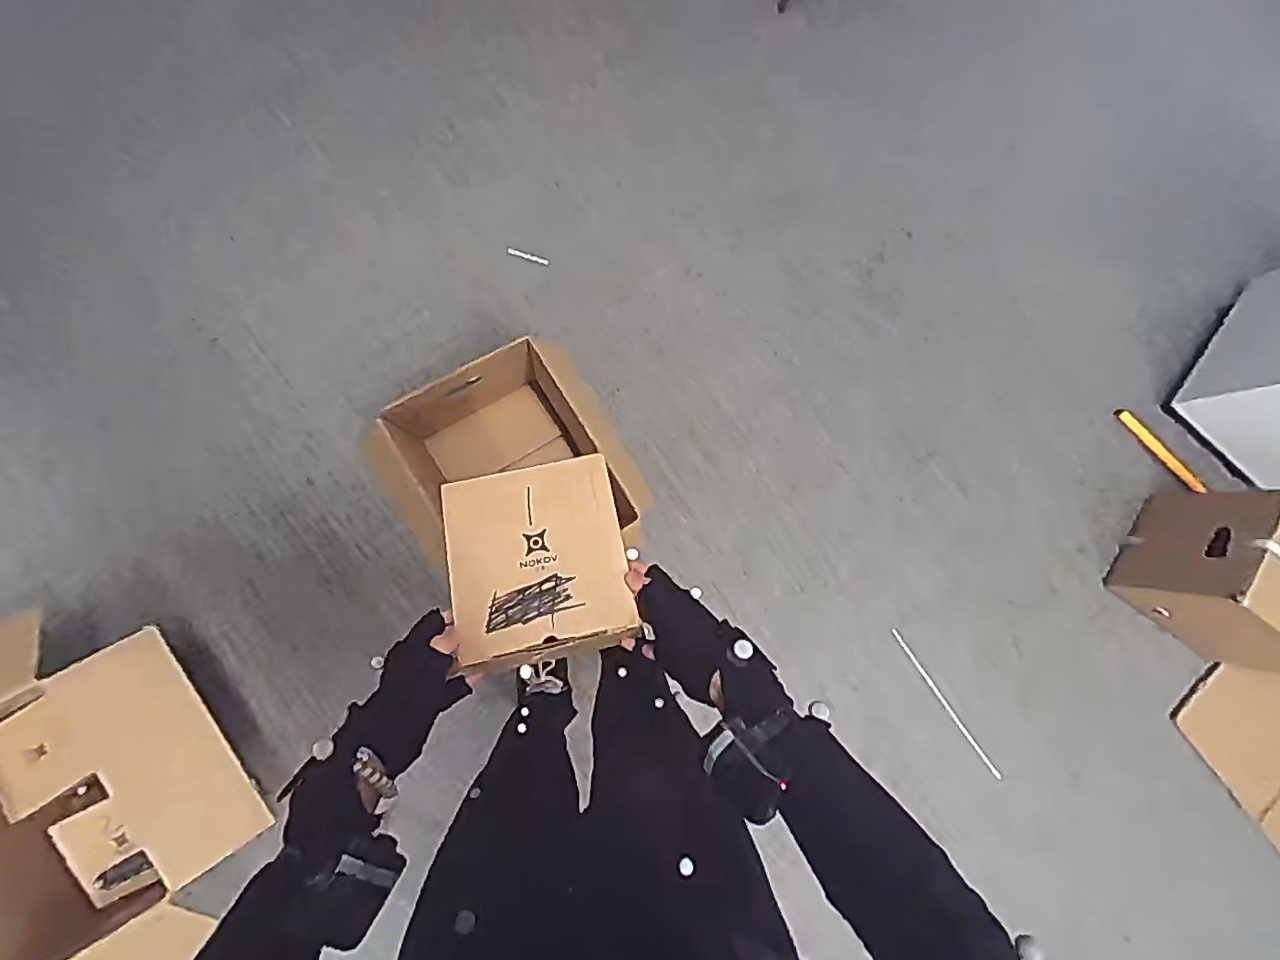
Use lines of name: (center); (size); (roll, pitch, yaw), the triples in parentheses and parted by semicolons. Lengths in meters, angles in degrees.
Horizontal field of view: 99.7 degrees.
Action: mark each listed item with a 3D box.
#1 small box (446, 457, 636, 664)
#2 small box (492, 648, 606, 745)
small box: (-0.099, 0.097, 0.594); (0.168, 0.176, 0.179); (-11, 69, -5)
small box: (-0.206, 0.451, 1.209); (0.179, 0.176, 0.168); (34, 91, 15)
